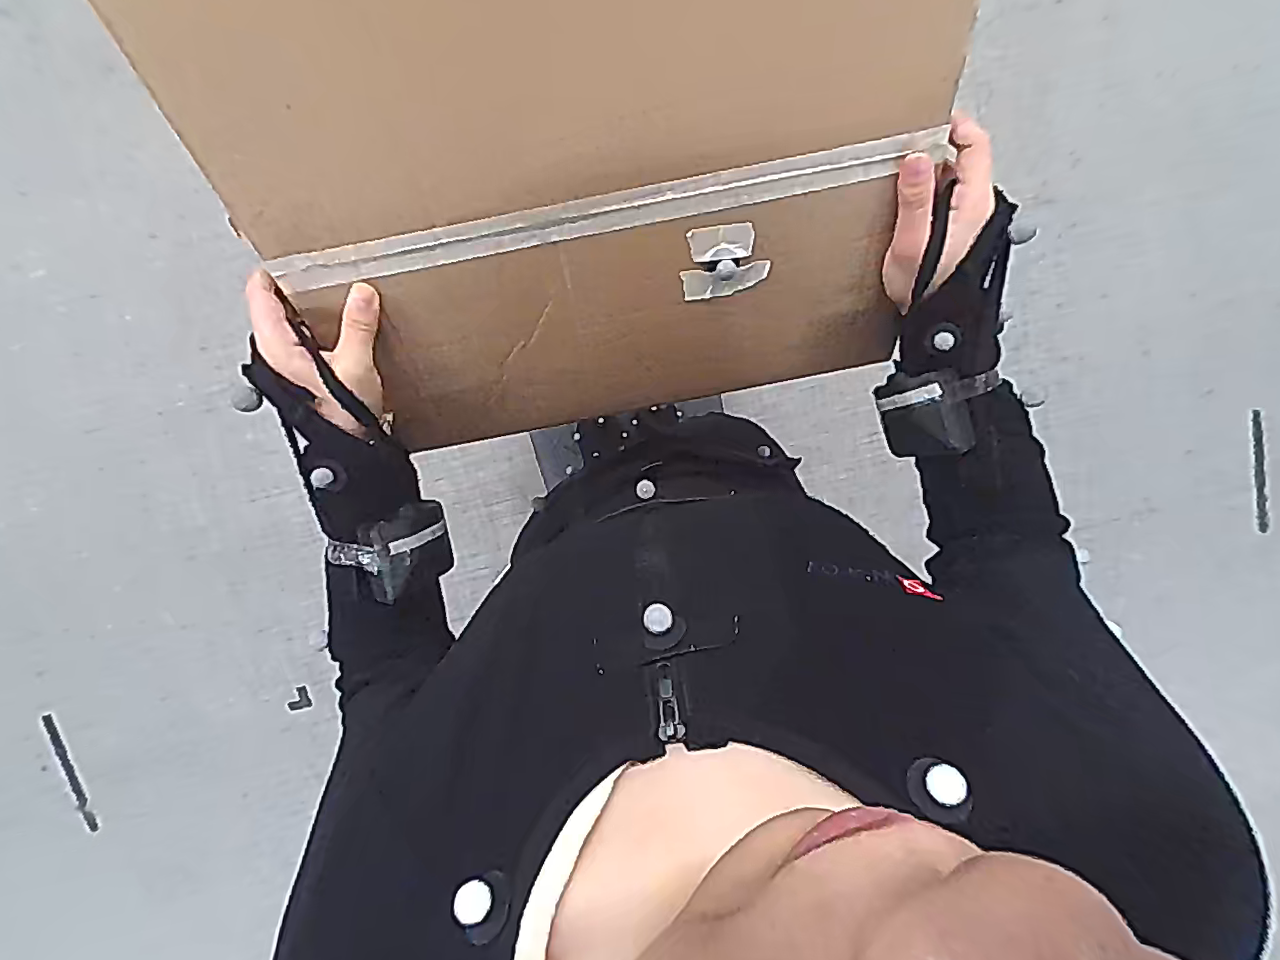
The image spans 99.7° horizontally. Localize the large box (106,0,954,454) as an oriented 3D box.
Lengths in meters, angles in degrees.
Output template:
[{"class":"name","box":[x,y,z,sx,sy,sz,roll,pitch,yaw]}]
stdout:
[{"class":"large box","box":[-0.046,-0.271,0.433,0.408,0.320,0.320,-13,139,-1]}]
